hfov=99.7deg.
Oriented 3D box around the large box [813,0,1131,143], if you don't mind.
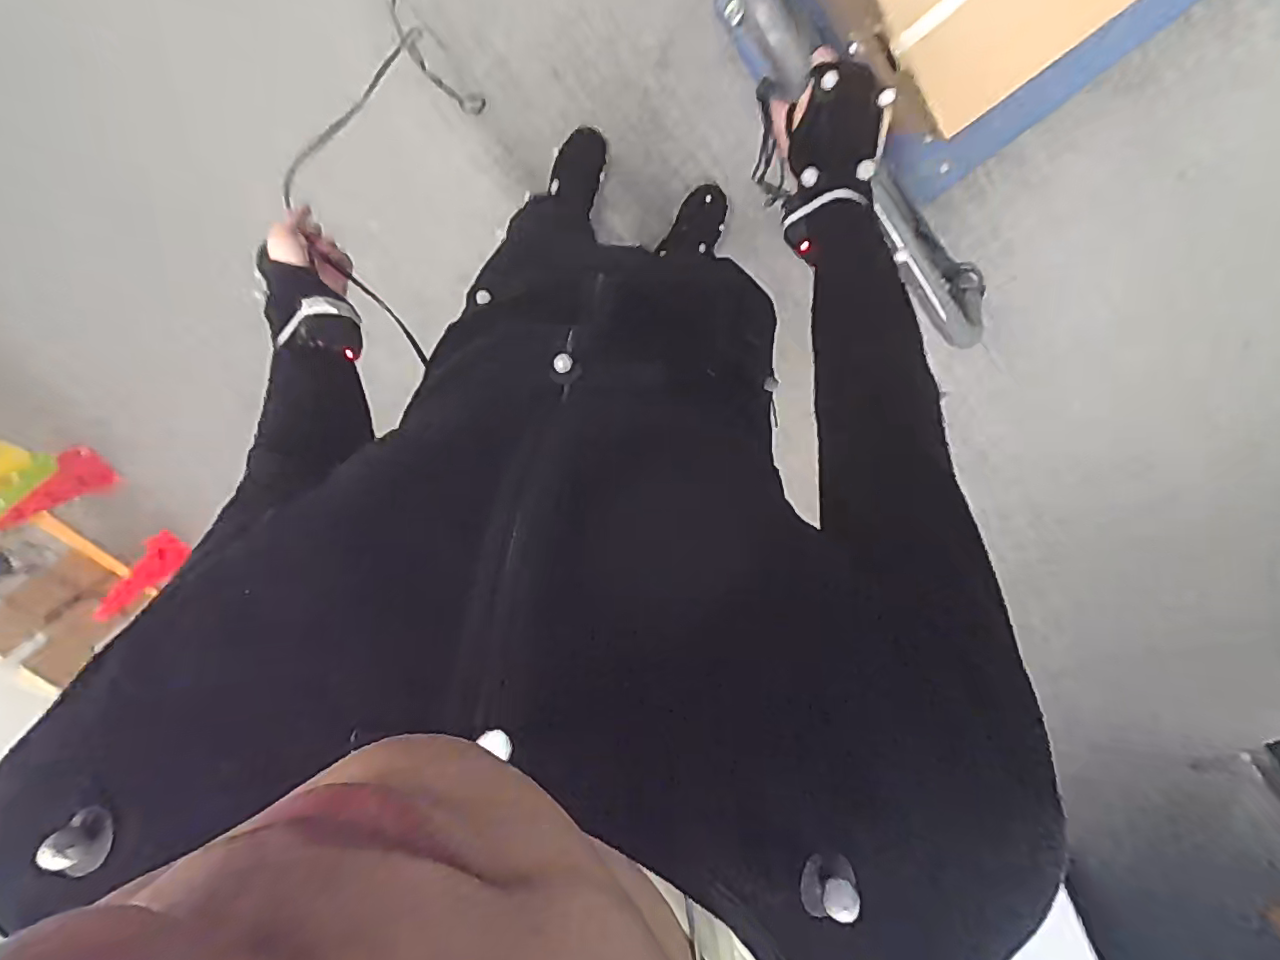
[{"bbox_3d":[0.530,-0.798,0.818,0.408,0.320,0.320,-33,115,26],"label":"large box"}]
